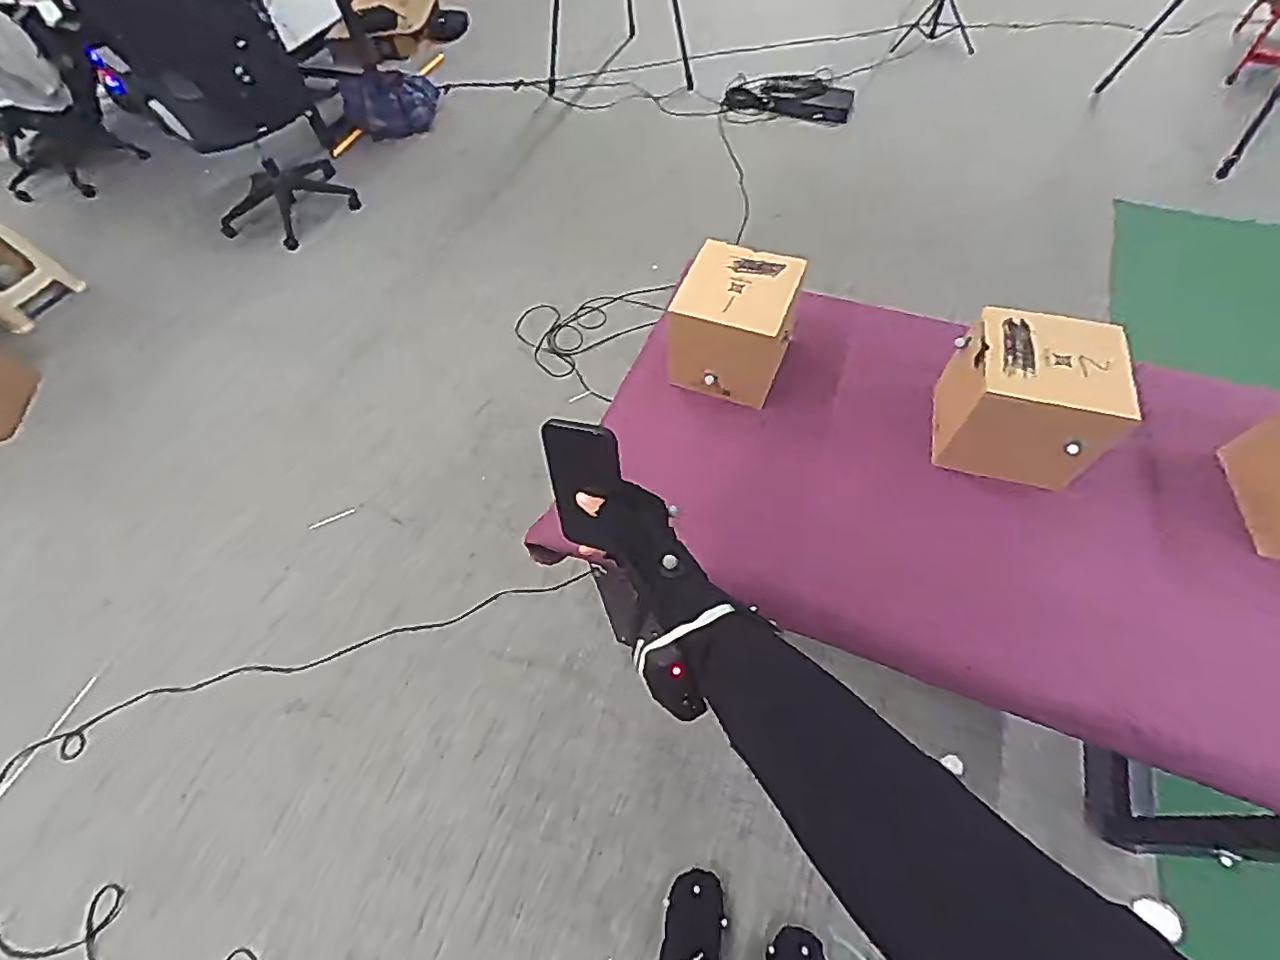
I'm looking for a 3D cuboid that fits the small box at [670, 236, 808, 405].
[{"bbox_3d":[0.154,-0.254,0.873,0.168,0.176,0.179,19,63,15],"label":"small box"}]

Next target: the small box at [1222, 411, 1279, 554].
[{"bbox_3d":[0.898,0.002,0.666,0.168,0.176,0.179,9,59,10],"label":"small box"}]
